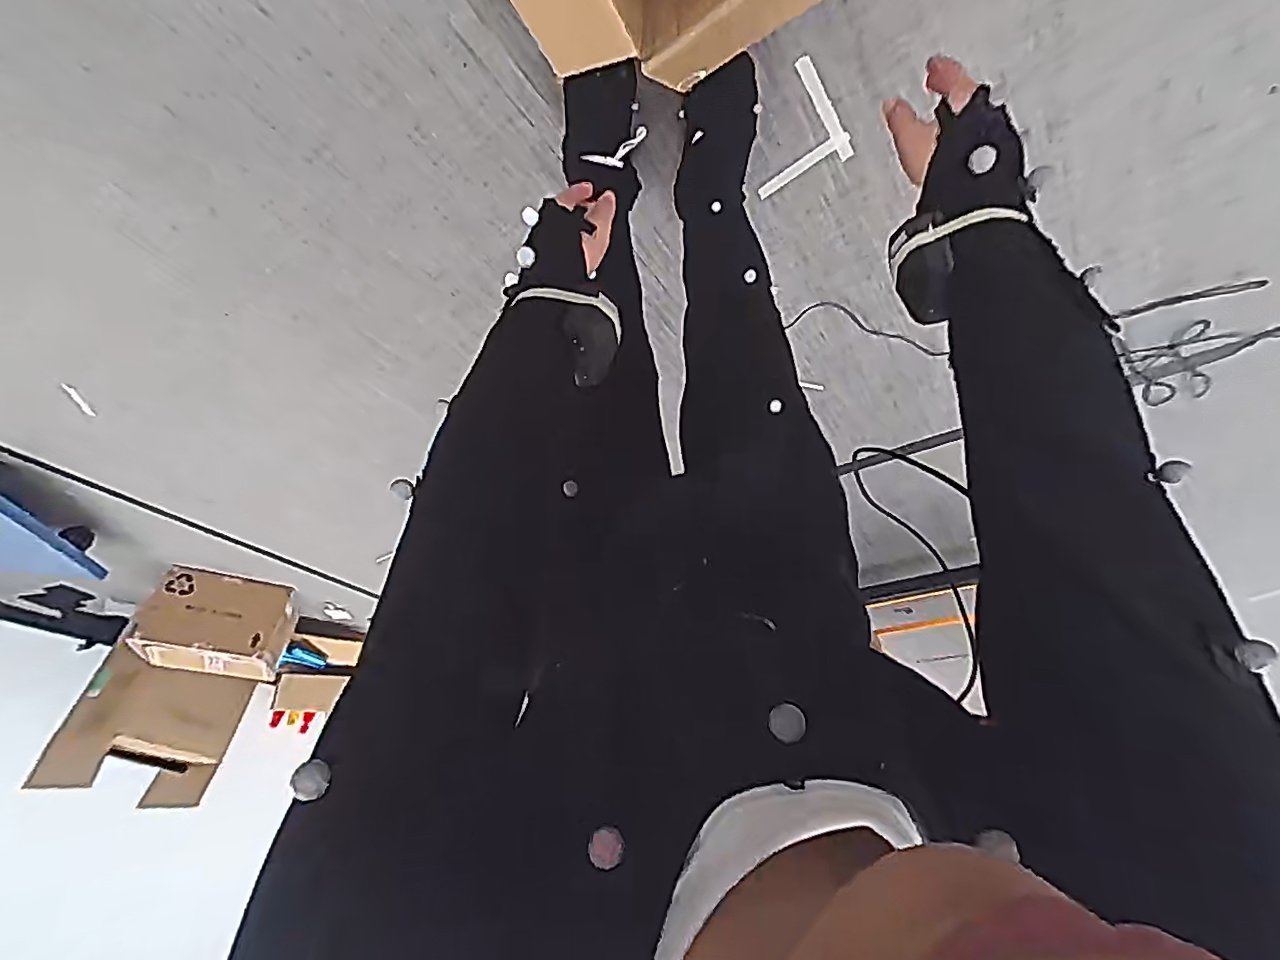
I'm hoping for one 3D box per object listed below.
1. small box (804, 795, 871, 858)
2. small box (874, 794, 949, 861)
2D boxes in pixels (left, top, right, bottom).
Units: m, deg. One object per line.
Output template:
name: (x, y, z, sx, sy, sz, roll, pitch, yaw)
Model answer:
small box: (0.671, 1.187, 1.853, 0.179, 0.176, 0.168, -18, 140, 26)
small box: (0.870, 1.117, 1.737, 0.168, 0.176, 0.179, -20, 139, 28)
